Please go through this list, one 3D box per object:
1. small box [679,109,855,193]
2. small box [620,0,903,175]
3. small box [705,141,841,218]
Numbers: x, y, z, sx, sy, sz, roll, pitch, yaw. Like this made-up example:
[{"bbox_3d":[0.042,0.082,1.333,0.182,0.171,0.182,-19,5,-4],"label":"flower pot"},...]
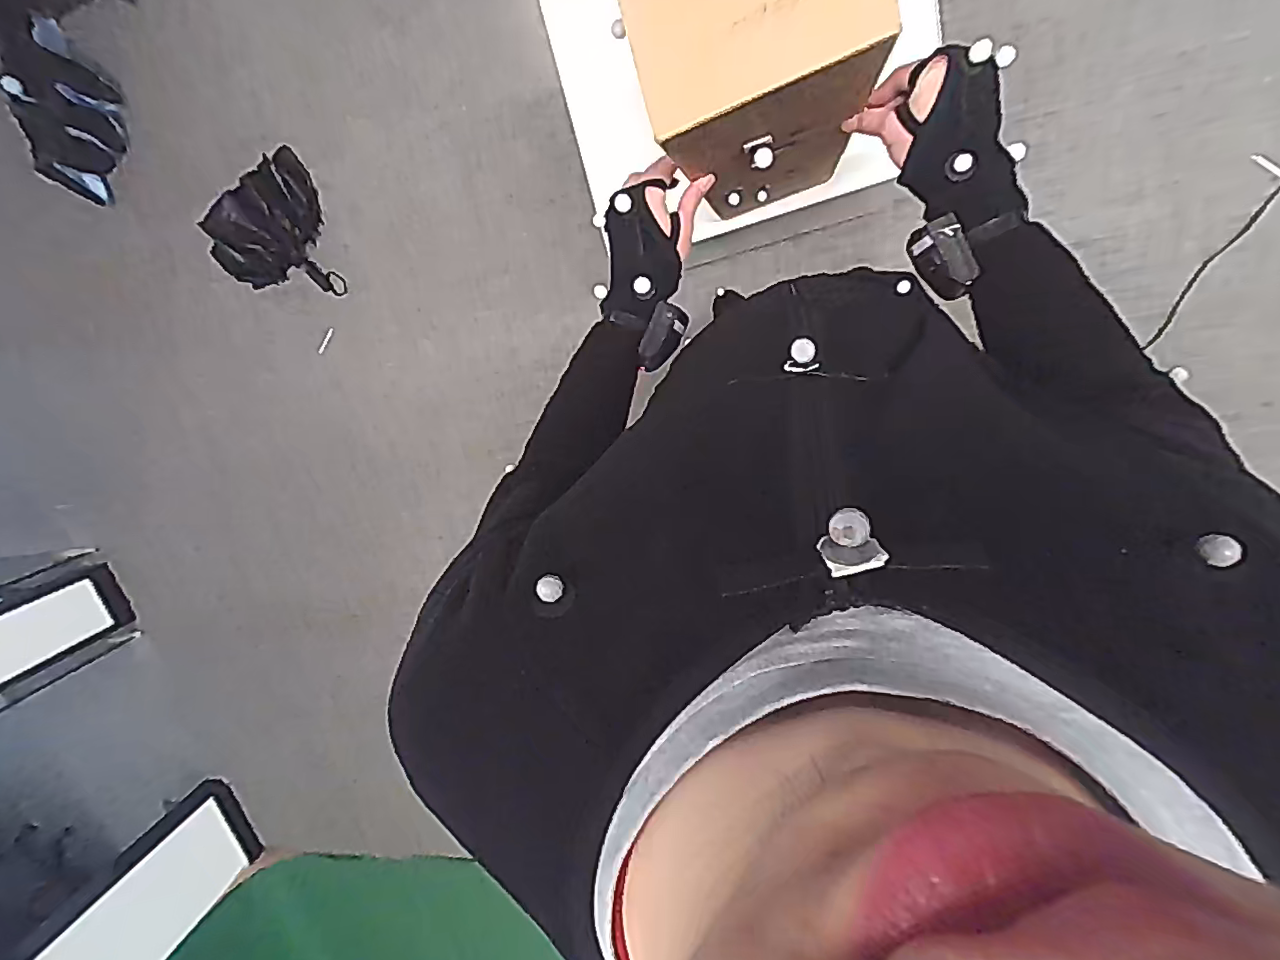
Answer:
[{"bbox_3d":[0.114,-0.418,0.558,0.168,0.176,0.179,-14,104,18],"label":"small box"},{"bbox_3d":[0.079,-0.365,0.408,0.168,0.176,0.179,-14,105,19],"label":"small box"},{"bbox_3d":[0.153,-0.471,0.711,0.168,0.176,0.179,-14,105,19],"label":"small box"}]
